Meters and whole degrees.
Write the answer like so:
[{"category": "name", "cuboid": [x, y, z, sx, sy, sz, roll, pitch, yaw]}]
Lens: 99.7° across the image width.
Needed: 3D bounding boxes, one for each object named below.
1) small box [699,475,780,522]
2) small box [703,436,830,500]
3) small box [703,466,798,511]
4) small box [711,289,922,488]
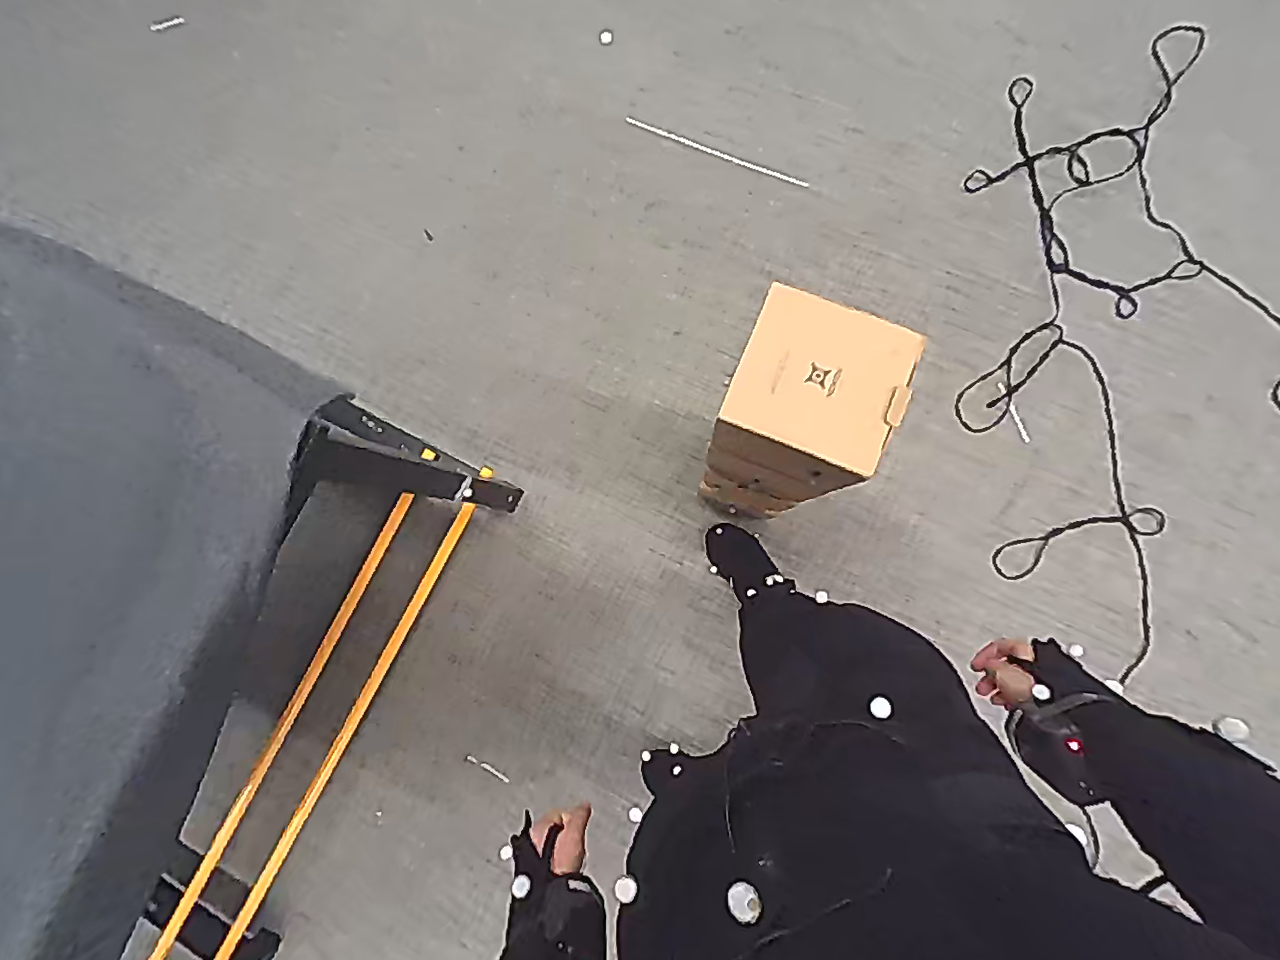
[{"category": "small box", "cuboid": [0.227, -0.022, 1.142, 0.168, 0.176, 0.179, 21, 85, 8]}, {"category": "small box", "cuboid": [0.207, -0.076, 0.819, 0.179, 0.176, 0.168, 22, 84, 6]}, {"category": "small box", "cuboid": [0.220, -0.052, 0.981, 0.168, 0.176, 0.179, 22, 85, 7]}, {"category": "small box", "cuboid": [0.198, -0.096, 0.658, 0.179, 0.176, 0.168, 22, 85, 8]}]
